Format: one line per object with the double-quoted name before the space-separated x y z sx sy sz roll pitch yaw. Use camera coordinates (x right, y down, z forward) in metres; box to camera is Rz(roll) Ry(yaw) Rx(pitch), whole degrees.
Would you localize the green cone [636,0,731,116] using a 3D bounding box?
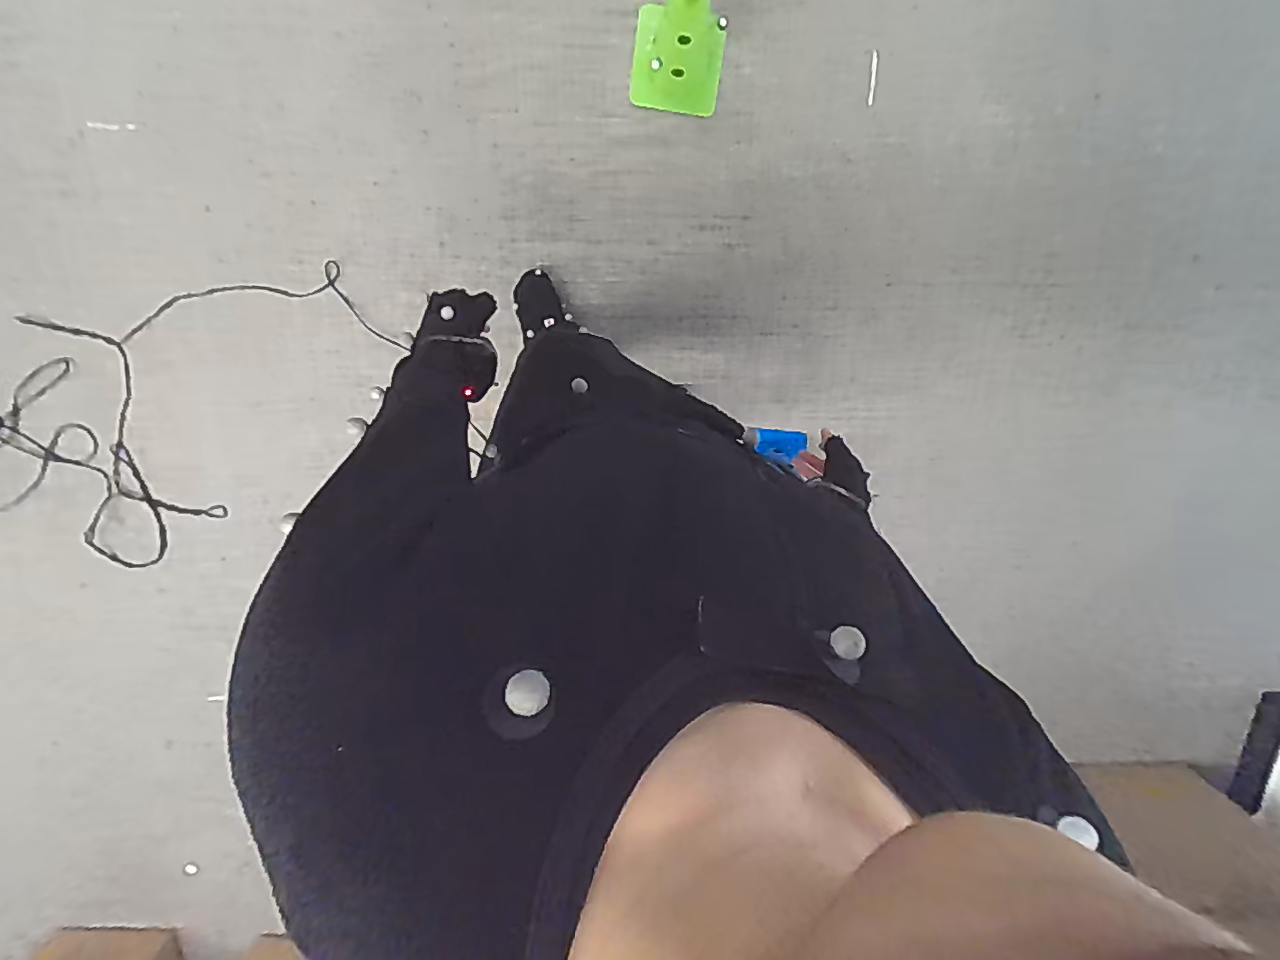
"green cone" 0.100 -0.912 1.068 0.200 0.368 0.202 6 104 -2
